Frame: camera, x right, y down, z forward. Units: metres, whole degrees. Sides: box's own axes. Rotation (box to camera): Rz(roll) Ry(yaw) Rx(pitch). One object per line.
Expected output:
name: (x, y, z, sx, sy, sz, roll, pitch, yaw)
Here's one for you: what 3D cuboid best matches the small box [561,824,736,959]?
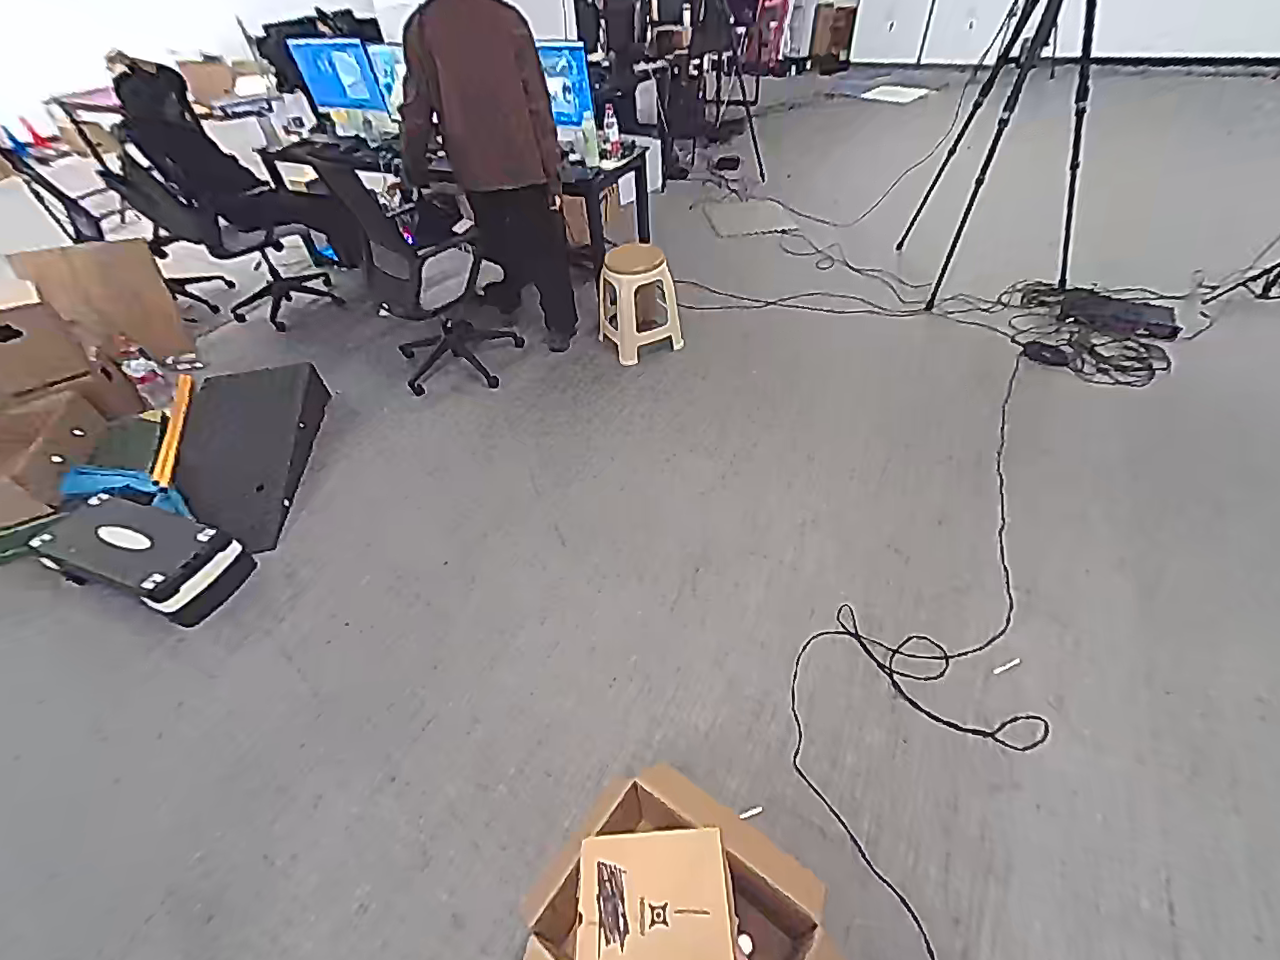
small box: (0.018, 0.535, 0.646, 0.179, 0.176, 0.168, -7, 39, 9)
